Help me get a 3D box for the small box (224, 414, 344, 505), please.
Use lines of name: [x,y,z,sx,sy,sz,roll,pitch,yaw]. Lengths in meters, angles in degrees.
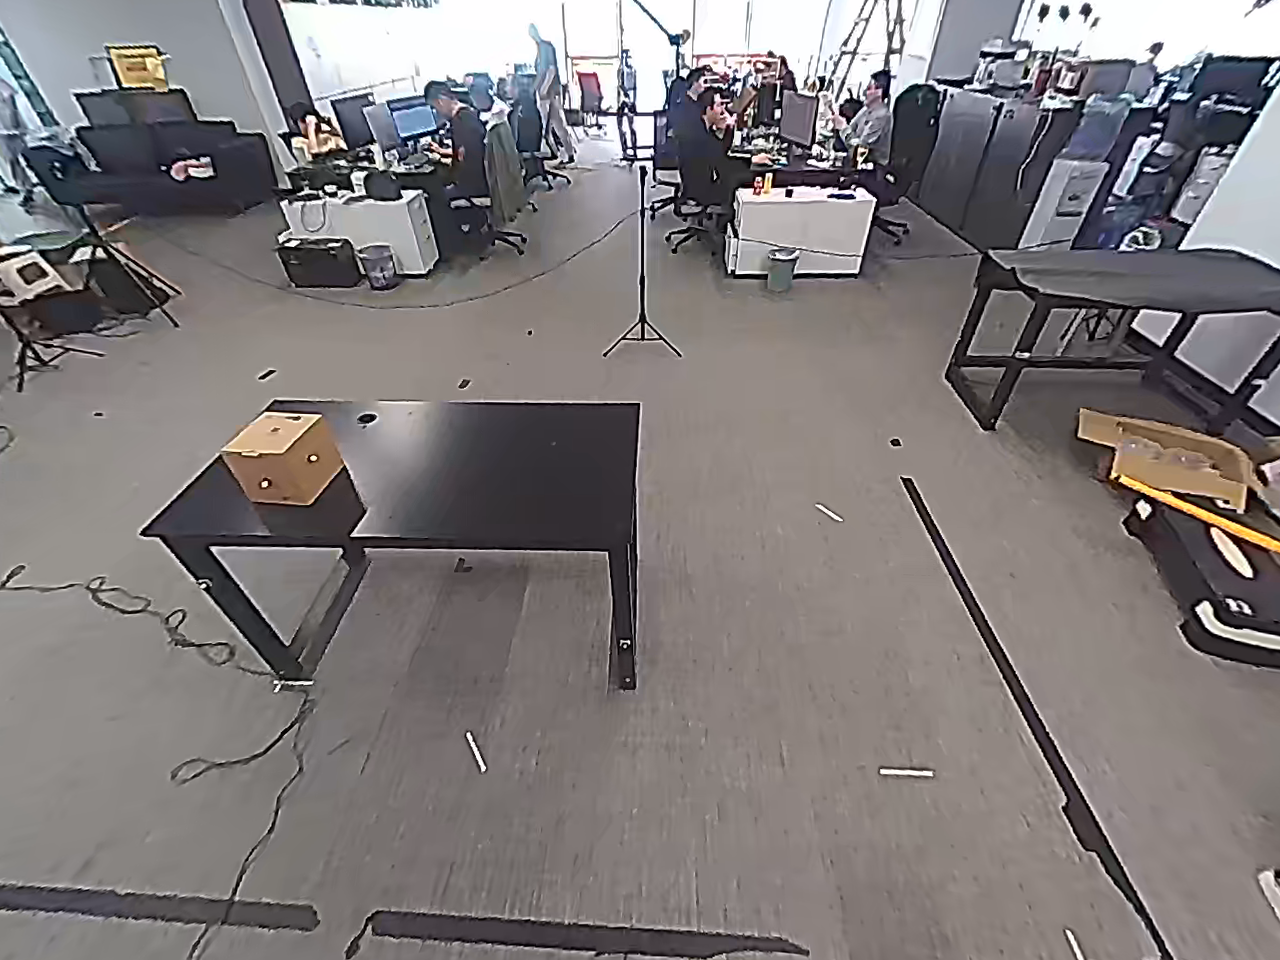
small box: [-0.908,-0.053,1.404,0.168,0.176,0.179,4,41,5]
